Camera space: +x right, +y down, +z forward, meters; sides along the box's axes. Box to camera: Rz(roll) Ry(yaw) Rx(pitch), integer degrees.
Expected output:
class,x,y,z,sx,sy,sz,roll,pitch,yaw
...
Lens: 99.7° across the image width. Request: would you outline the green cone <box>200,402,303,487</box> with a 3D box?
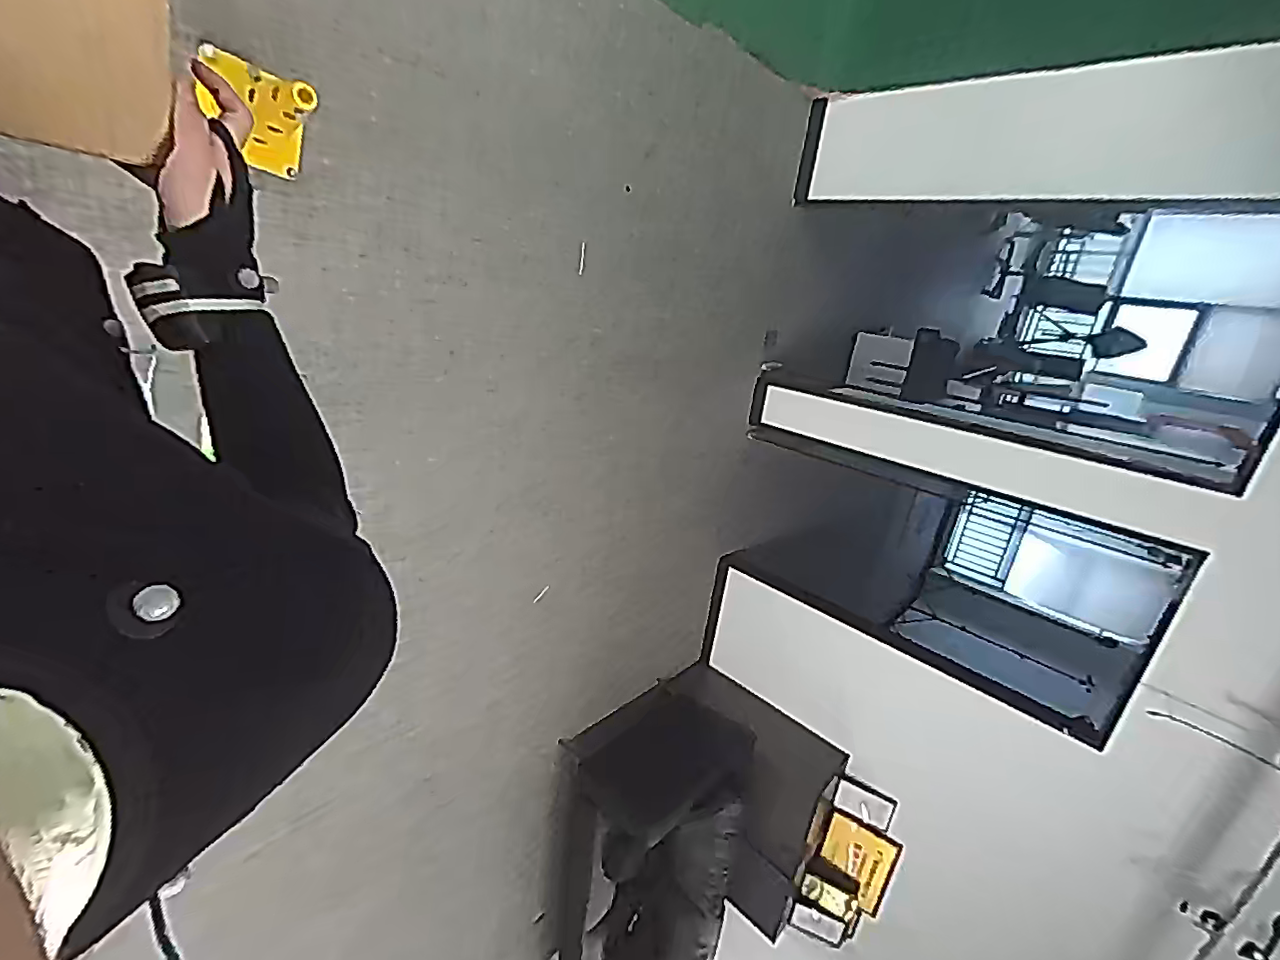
class,x,y,z,sx,sy,sz,roll,pitch,yaw
green cone,-0.893,-0.051,1.303,0.200,0.368,0.202,-5,111,-49
